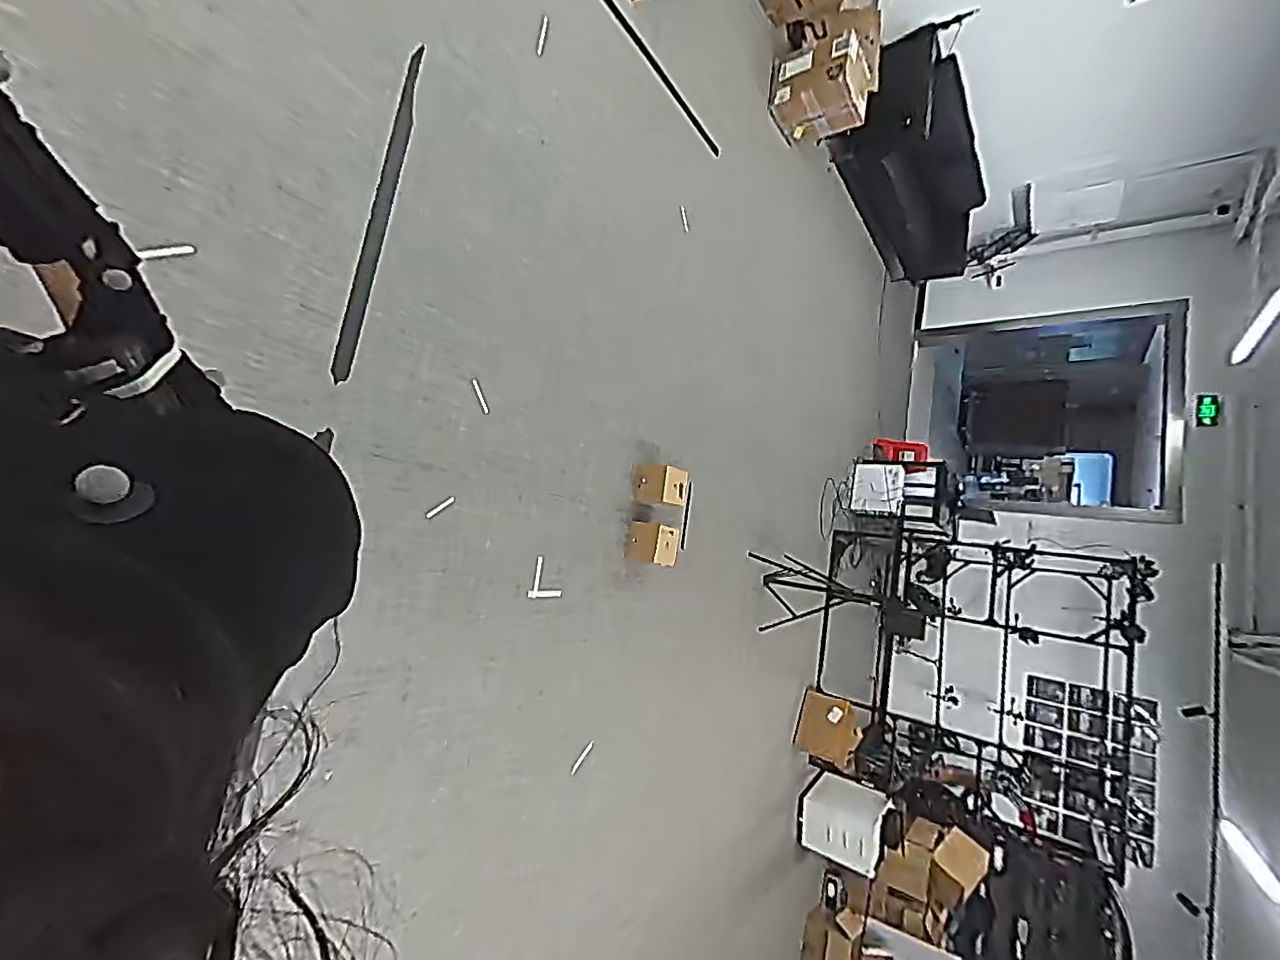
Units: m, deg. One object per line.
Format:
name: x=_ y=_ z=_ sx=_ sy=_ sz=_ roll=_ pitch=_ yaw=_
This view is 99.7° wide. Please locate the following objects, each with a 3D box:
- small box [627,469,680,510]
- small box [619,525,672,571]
small box: x=0.066 y=0.043 z=2.547 sx=0.179 sy=0.176 sz=0.168 roll=17 pitch=79 yaw=-51
small box: x=0.021 y=0.314 z=2.512 sx=0.168 sy=0.176 sz=0.179 roll=23 pitch=75 yaw=-51
